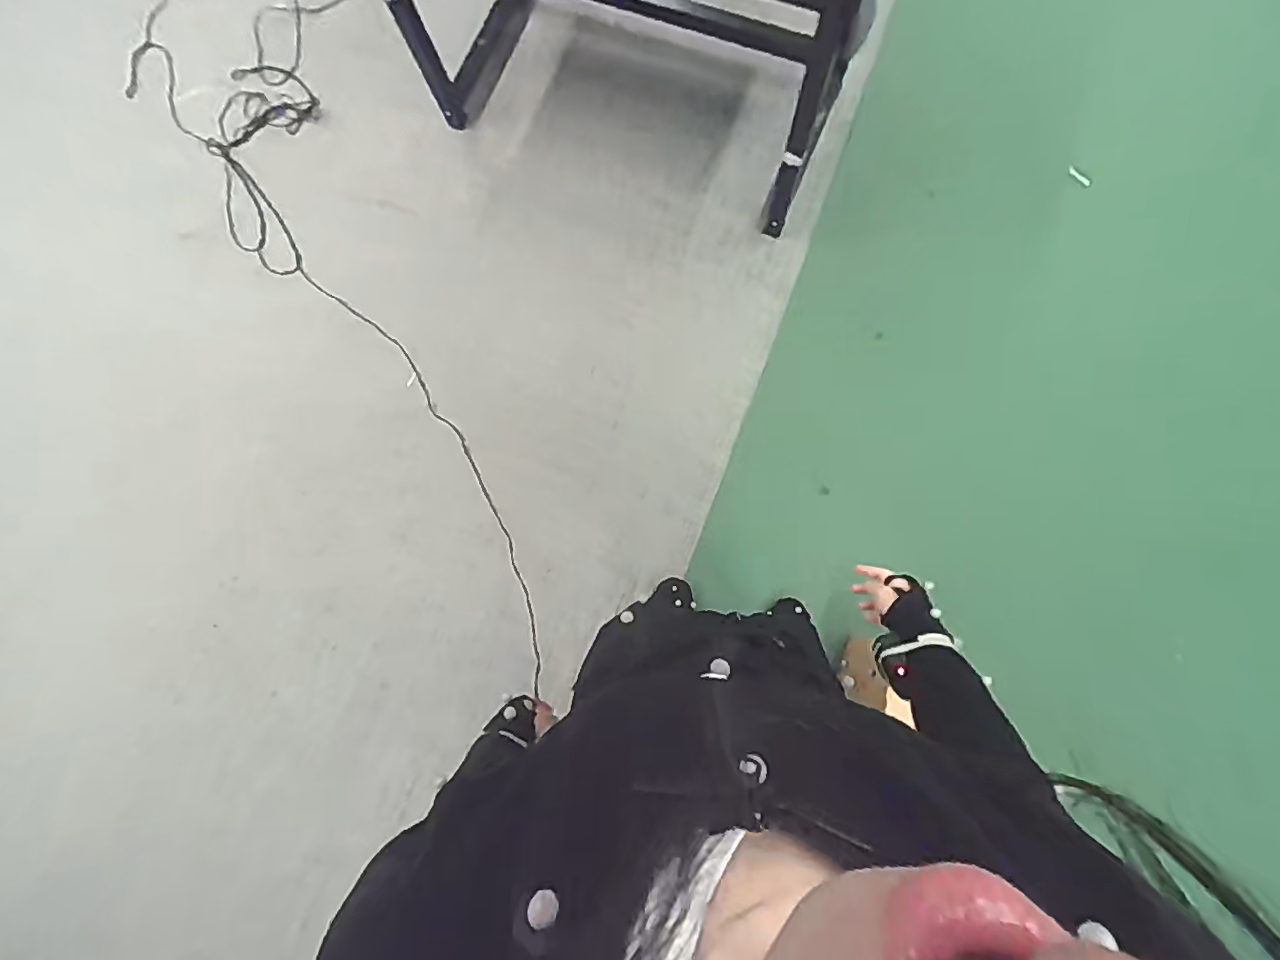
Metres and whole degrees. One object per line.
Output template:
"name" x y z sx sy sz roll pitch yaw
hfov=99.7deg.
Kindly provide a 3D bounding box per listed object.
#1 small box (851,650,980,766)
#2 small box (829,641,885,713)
"small box" 0.593 0.485 1.183 0.179 0.176 0.168 20 81 6
"small box" 0.598 0.513 1.342 0.179 0.176 0.168 21 80 6
